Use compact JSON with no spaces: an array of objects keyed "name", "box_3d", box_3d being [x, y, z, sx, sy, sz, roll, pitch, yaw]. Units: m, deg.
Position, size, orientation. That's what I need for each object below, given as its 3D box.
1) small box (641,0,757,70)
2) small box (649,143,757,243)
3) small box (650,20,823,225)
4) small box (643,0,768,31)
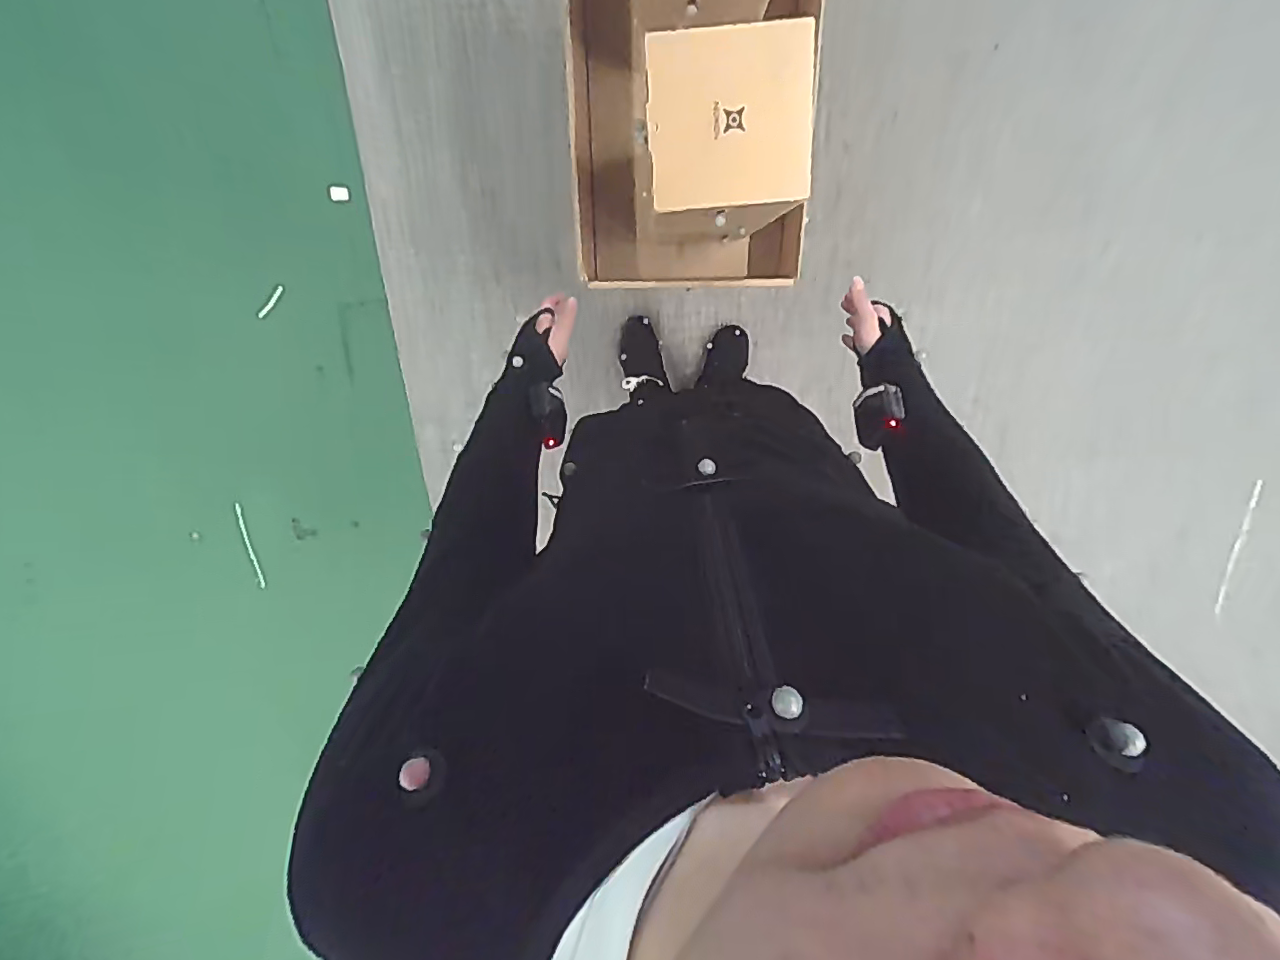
[{"name":"small box","box_3d":[0.093,-0.774,0.863,0.179,0.176,0.168,2,111,0]},{"name":"small box","box_3d":[0.106,-0.515,0.952,0.179,0.176,0.168,-1,109,2]},{"name":"small box","box_3d":[0.103,-0.406,0.644,0.179,0.176,0.168,-4,109,3]},{"name":"small box","box_3d":[0.091,-0.719,0.708,0.179,0.176,0.168,2,112,2]}]
